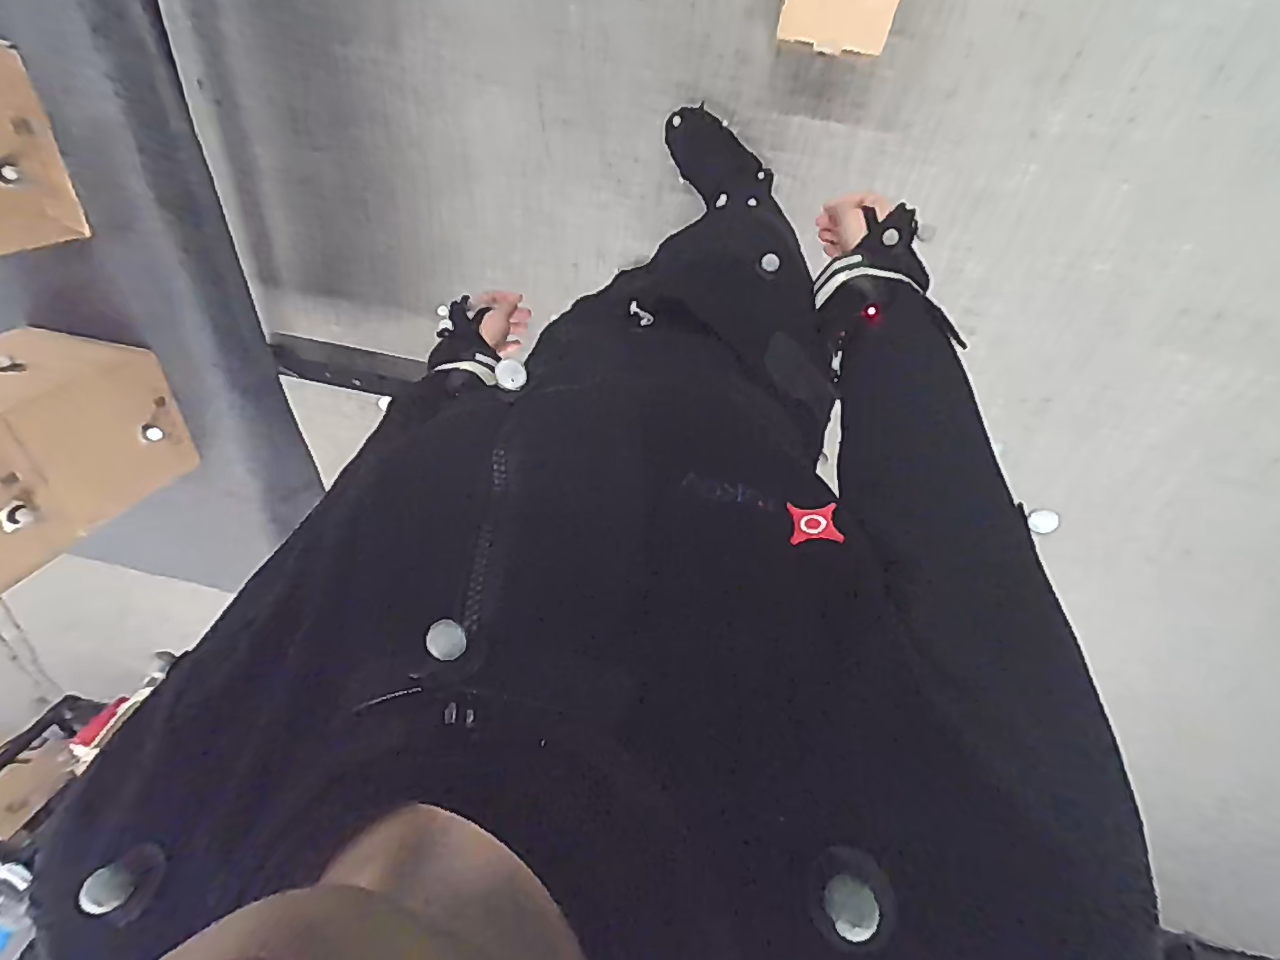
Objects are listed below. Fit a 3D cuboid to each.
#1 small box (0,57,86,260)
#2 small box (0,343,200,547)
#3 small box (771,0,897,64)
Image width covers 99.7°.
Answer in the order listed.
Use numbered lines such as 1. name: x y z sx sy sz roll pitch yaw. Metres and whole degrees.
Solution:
1. small box: -0.668 -0.288 0.470 0.179 0.176 0.168 13 126 2
2. small box: -0.688 -0.049 0.639 0.179 0.176 0.168 10 126 3
3. small box: 0.309 -0.767 0.839 0.168 0.176 0.179 13 127 2
